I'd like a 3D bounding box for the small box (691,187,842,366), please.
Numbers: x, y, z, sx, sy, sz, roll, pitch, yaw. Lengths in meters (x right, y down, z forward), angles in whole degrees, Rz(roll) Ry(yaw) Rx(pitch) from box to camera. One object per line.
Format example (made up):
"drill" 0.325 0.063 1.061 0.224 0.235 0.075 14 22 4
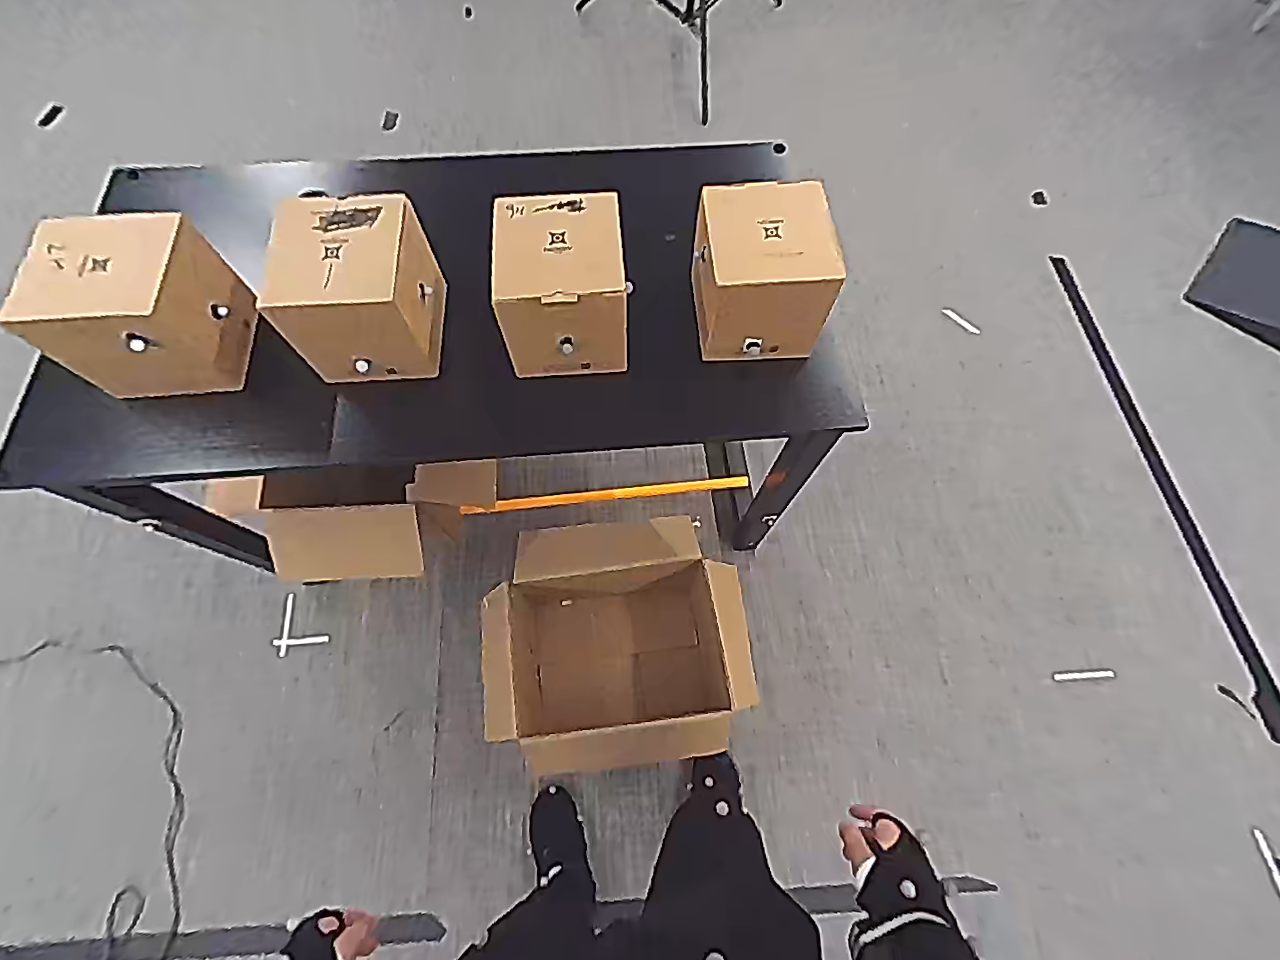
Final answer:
"small box" 0.168 -0.287 0.780 0.168 0.176 0.179 -4 68 -1

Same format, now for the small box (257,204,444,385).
"small box" -0.384 -0.254 0.756 0.168 0.176 0.179 -3 68 -2

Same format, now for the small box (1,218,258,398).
"small box" -0.667 -0.227 0.738 0.179 0.176 0.168 -5 67 -3

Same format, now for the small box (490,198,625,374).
"small box" -0.108 -0.263 0.766 0.168 0.176 0.179 -4 68 -2
